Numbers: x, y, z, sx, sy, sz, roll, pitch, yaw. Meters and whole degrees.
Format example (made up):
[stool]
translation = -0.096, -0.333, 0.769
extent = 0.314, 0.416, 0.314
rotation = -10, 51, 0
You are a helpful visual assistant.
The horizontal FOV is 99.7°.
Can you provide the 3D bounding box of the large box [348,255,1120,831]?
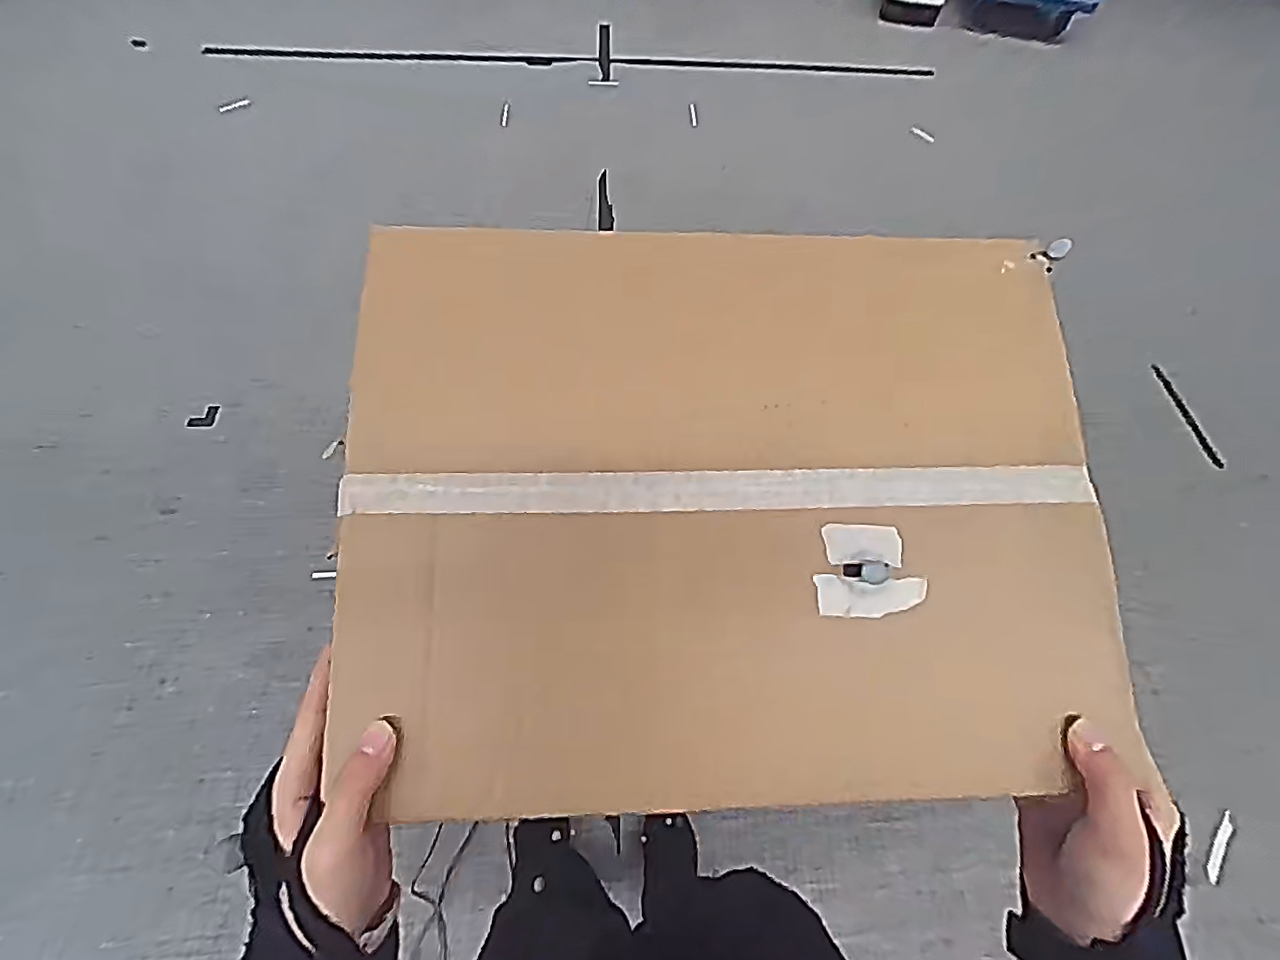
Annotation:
[large box]
translation = 0.040, 0.044, 0.446
extent = 0.408, 0.320, 0.320
rotation = -1, 78, -4
